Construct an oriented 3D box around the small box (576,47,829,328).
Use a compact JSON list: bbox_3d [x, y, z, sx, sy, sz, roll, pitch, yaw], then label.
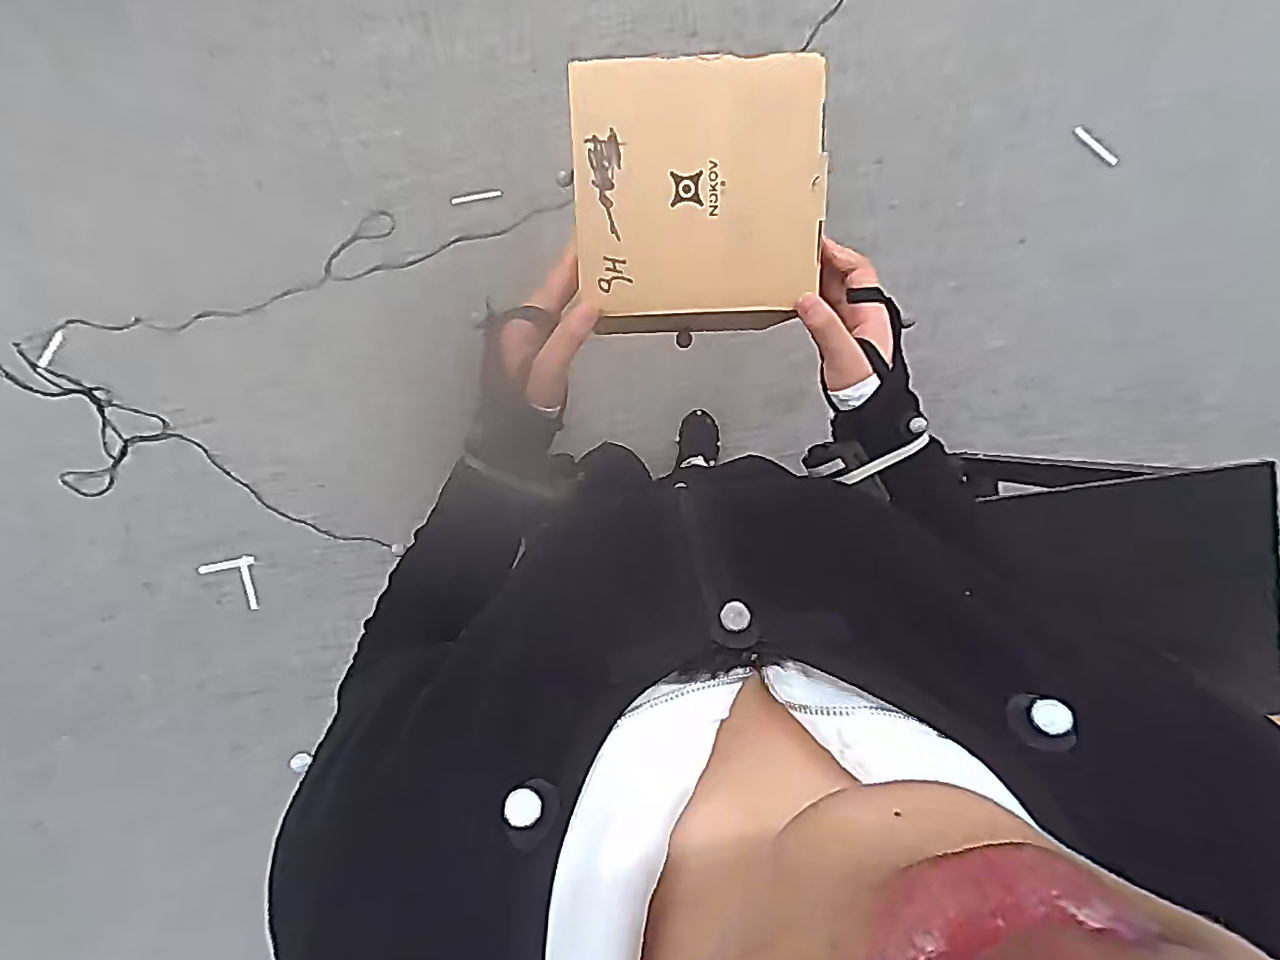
[{"bbox_3d":[0.041,-0.224,0.457,0.179,0.176,0.168,-2,99,-2],"label":"small box"}]
